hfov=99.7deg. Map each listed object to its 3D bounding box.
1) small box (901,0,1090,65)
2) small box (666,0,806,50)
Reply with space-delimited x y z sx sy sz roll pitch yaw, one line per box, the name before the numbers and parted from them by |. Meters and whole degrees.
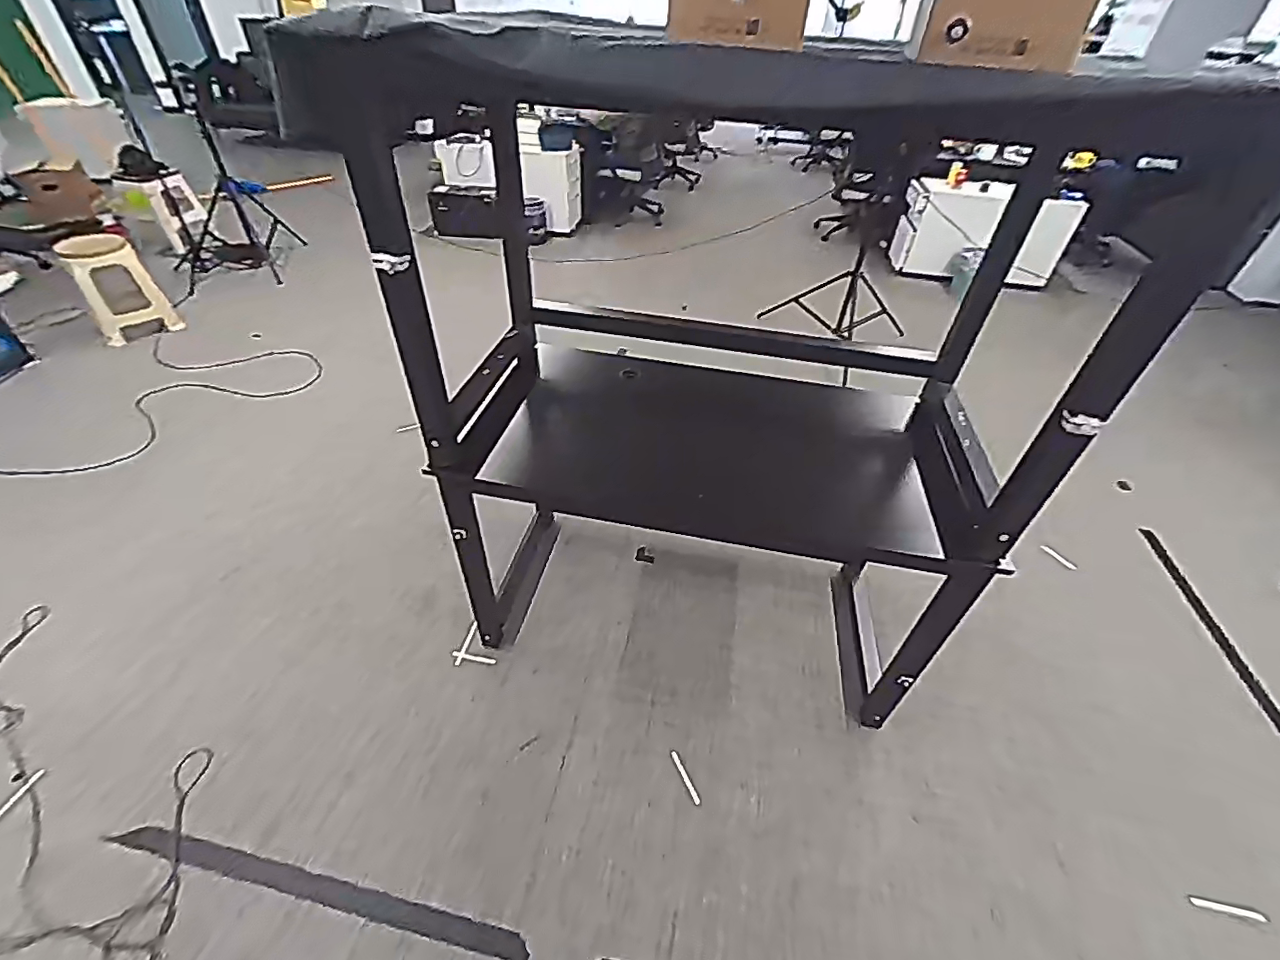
small box | 0.422 -0.593 0.627 0.168 0.176 0.179 12 40 10
small box | 0.128 -0.639 0.656 0.168 0.176 0.179 10 40 8
